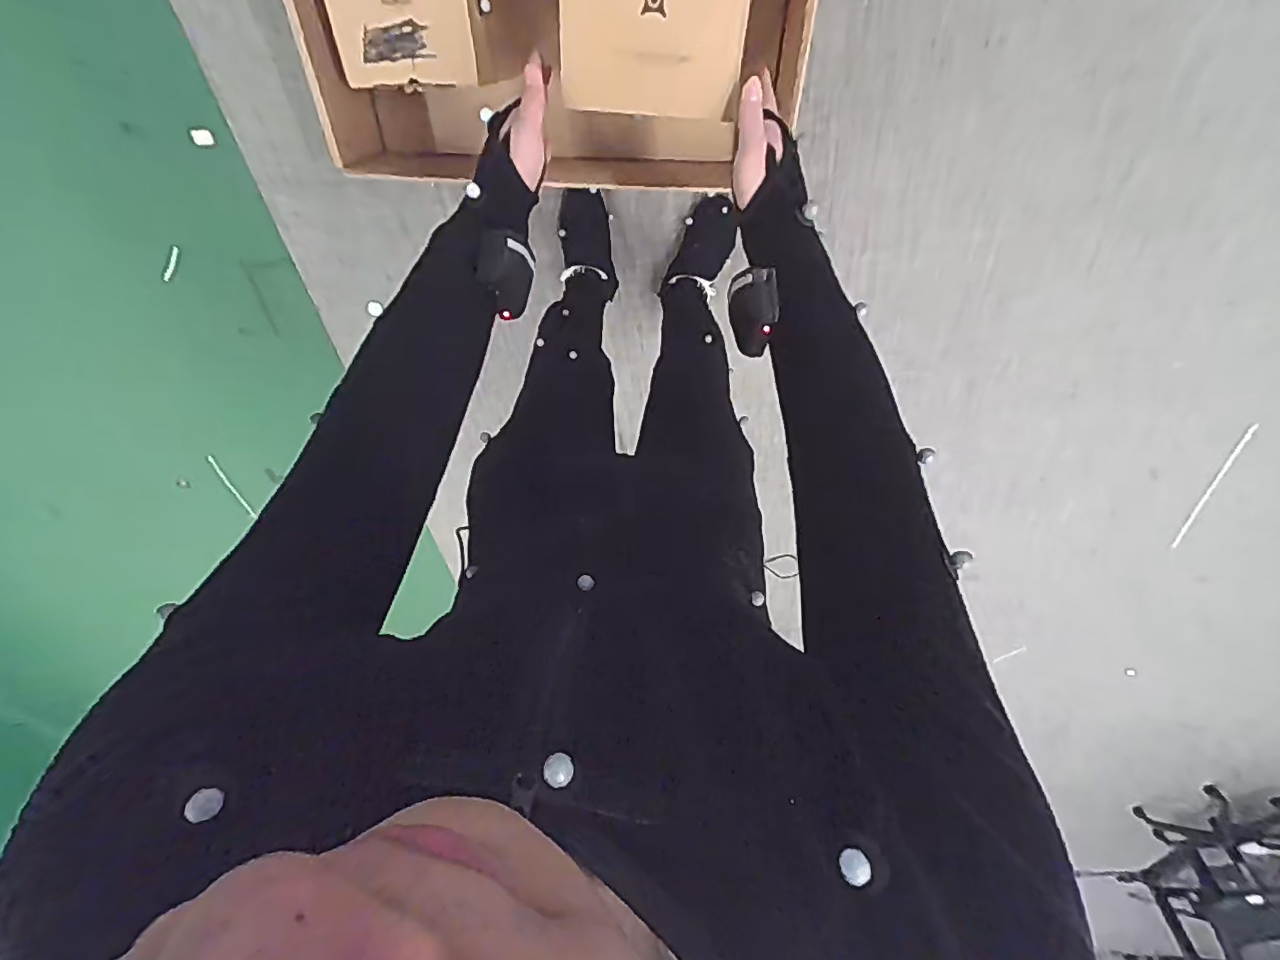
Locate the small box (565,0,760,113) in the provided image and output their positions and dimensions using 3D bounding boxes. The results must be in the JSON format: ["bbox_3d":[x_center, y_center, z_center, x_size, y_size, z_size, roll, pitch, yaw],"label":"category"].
[{"bbox_3d":[0.024,-0.464,0.504,0.168,0.176,0.179,6,131,1],"label":"small box"}]
